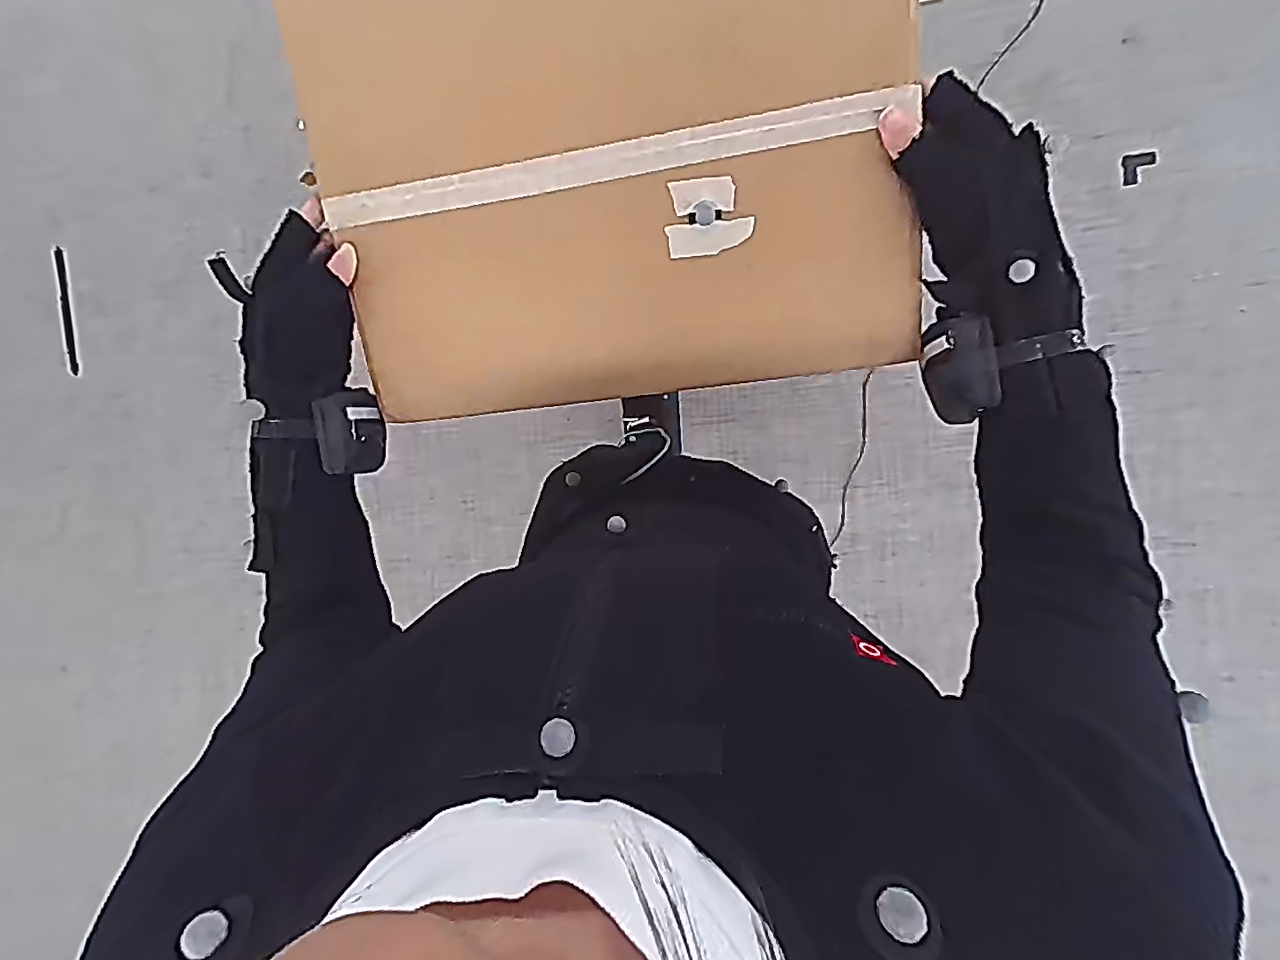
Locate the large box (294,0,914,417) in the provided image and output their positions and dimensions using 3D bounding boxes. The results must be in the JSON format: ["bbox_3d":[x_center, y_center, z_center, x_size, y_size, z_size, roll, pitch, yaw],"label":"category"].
[{"bbox_3d":[-0.008,-0.260,0.520,0.408,0.320,0.320,-7,106,8],"label":"large box"}]
